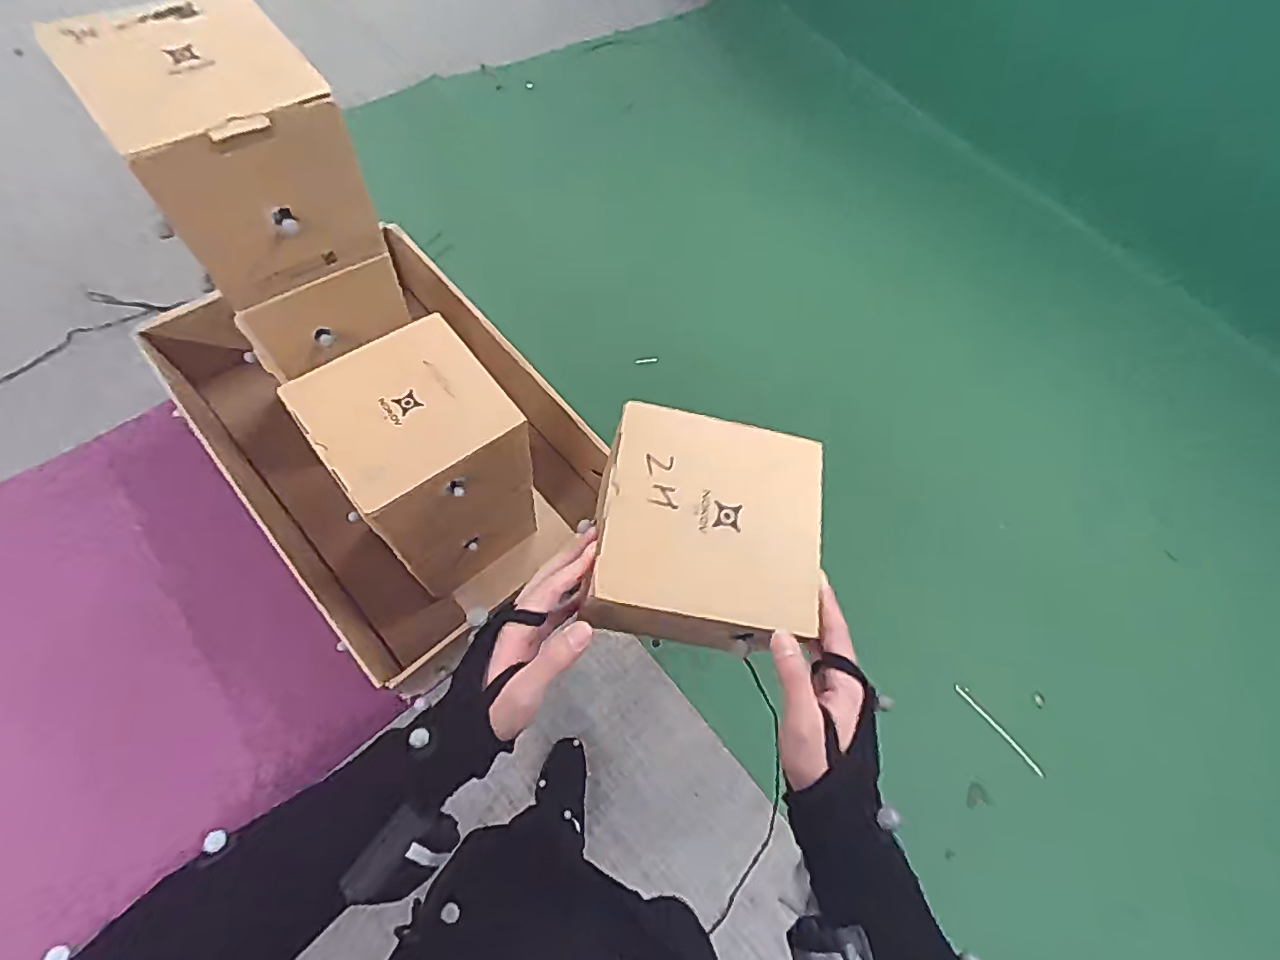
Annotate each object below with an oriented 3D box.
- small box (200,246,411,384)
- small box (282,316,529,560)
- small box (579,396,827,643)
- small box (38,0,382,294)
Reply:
[{"bbox_3d":[-0.405,-0.237,0.661,0.168,0.176,0.179,-36,76,-22],"label":"small box"},{"bbox_3d":[-0.237,-0.037,0.597,0.179,0.176,0.168,-35,76,-21],"label":"small box"},{"bbox_3d":[0.049,0.050,0.494,0.179,0.176,0.168,12,67,-6],"label":"small box"},{"bbox_3d":[-0.378,-0.306,0.514,0.168,0.176,0.179,-35,77,-23],"label":"small box"}]
